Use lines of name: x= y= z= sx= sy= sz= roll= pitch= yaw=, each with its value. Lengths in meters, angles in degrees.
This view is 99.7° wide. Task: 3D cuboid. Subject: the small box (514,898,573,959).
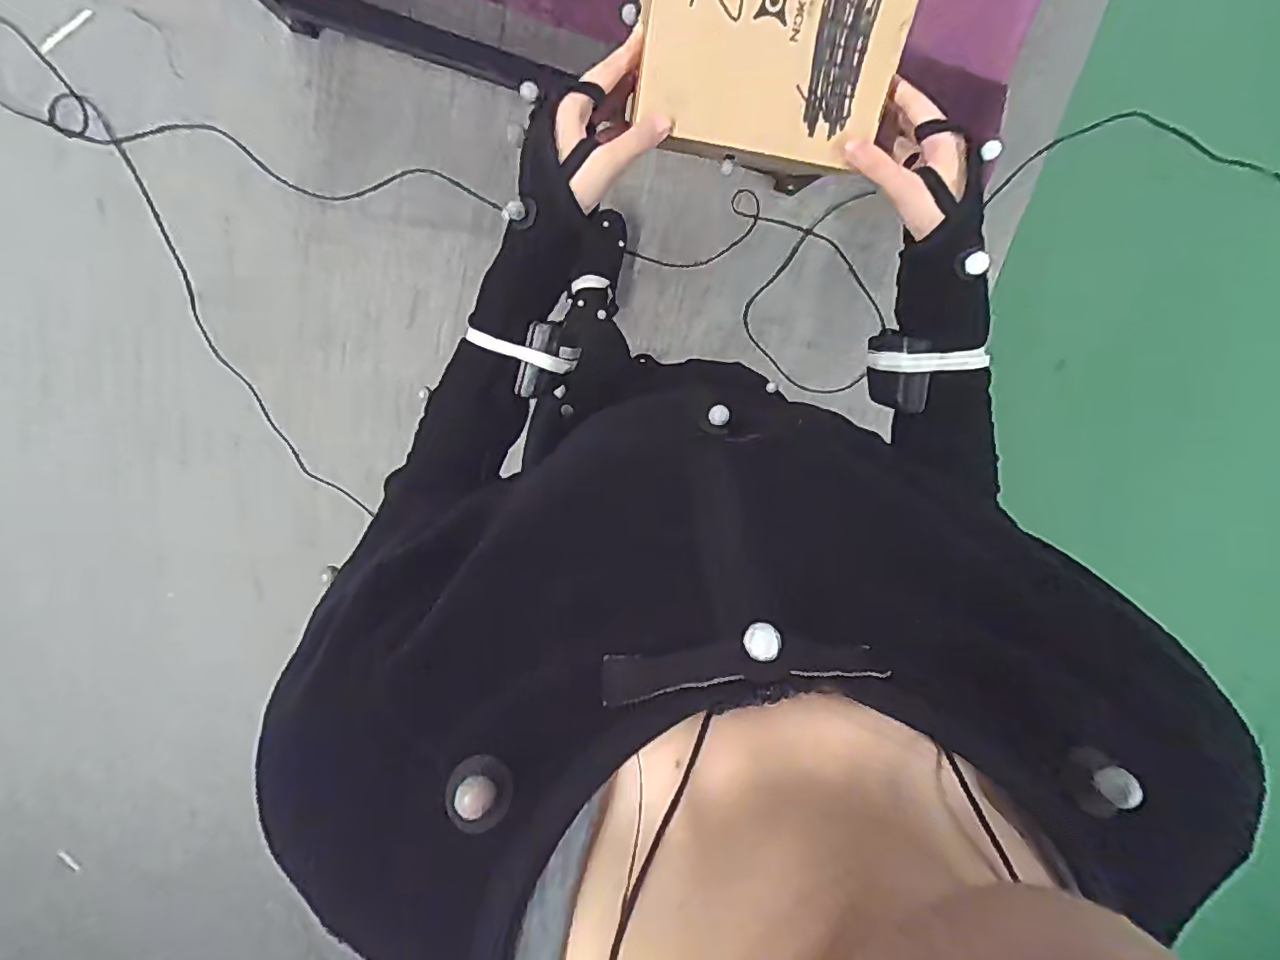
small box: x=-0.333 y=1.589 z=1.862 sx=0.179 sy=0.176 sz=0.168 roll=12 pitch=105 yaw=-8
